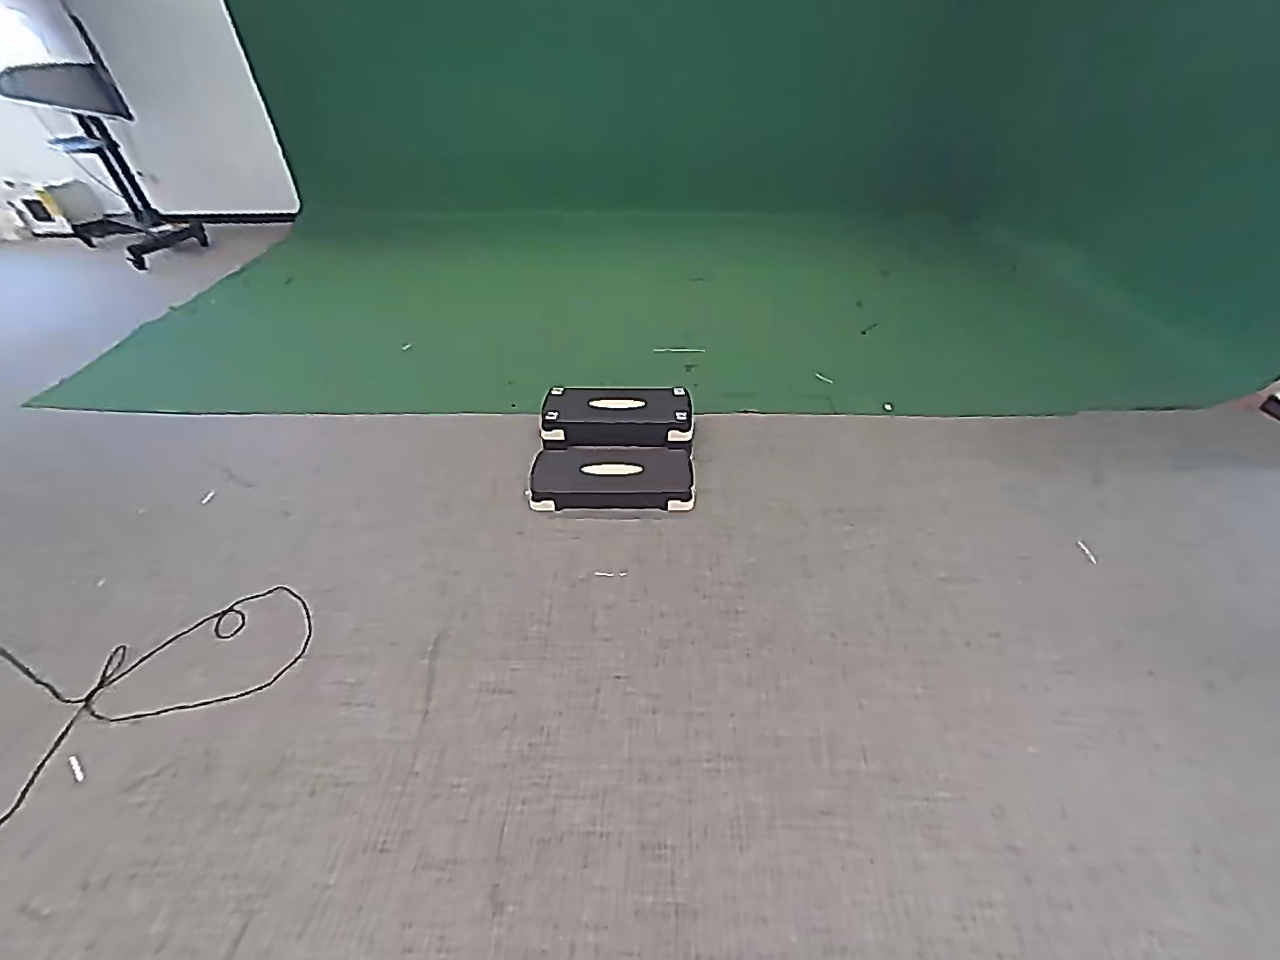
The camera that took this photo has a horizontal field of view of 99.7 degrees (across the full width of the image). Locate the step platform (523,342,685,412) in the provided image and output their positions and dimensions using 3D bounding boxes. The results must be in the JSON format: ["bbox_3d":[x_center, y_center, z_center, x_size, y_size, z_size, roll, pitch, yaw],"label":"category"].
[{"bbox_3d":[-0.148,-0.445,2.341,0.684,0.204,0.286,0,42,1],"label":"step platform"}]
